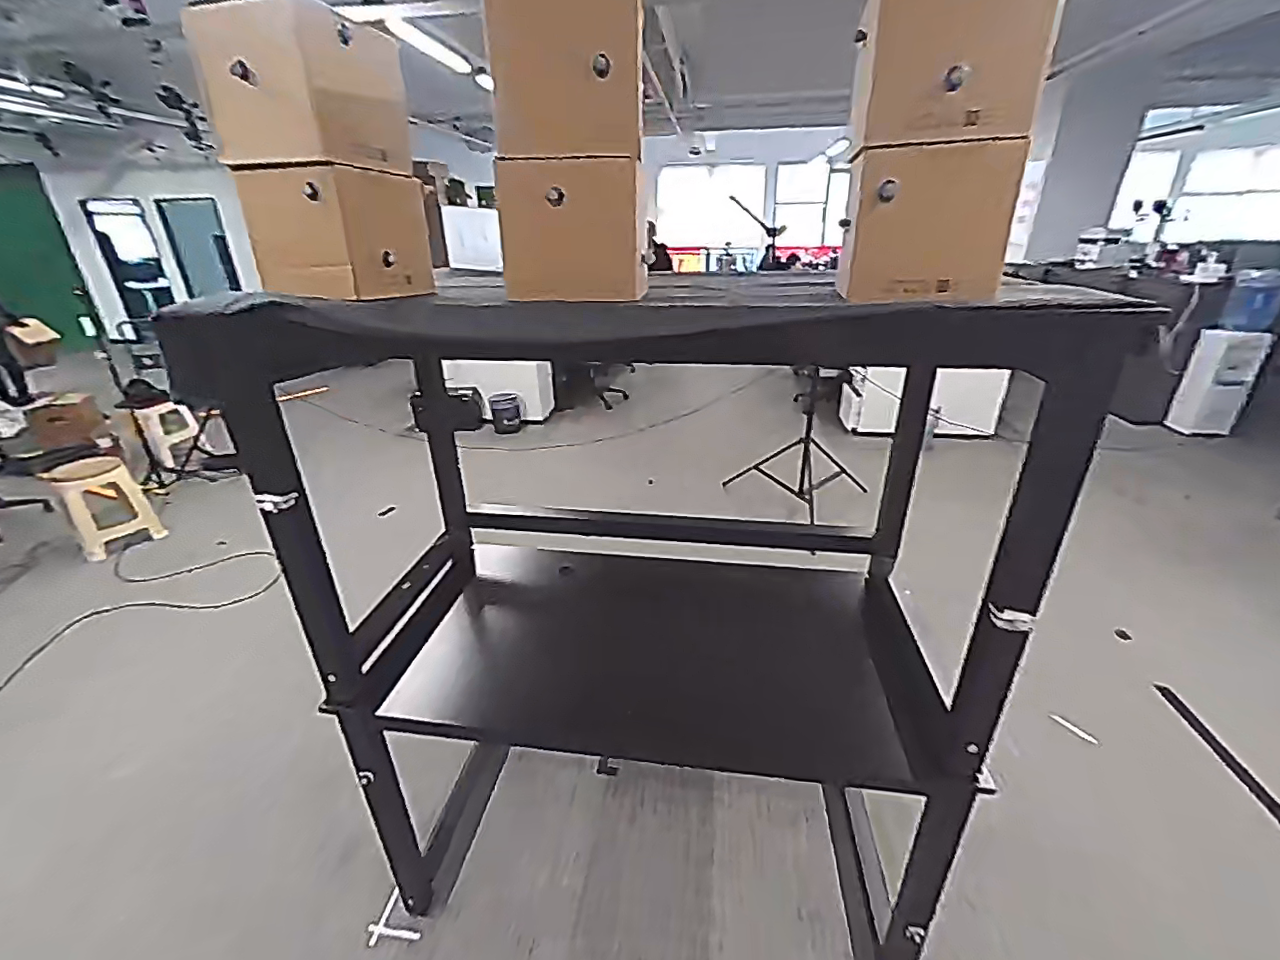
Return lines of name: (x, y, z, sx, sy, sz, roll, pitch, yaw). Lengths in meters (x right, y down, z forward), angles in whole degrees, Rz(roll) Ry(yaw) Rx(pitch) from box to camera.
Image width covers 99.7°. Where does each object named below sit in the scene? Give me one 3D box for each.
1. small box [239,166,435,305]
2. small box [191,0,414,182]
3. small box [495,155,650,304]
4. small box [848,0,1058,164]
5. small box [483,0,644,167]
small box: (-0.432, -0.350, 0.797, 0.179, 0.176, 0.168, 7, 24, 16)
small box: (-0.435, -0.497, 0.724, 0.179, 0.176, 0.168, 6, 24, 16)
small box: (-0.081, -0.336, 0.748, 0.179, 0.176, 0.168, 2, 24, 5)
small box: (0.342, -0.472, 0.622, 0.168, 0.176, 0.179, 3, 24, 13)
small box: (-0.084, -0.489, 0.692, 0.179, 0.176, 0.168, -1, 22, 1)
